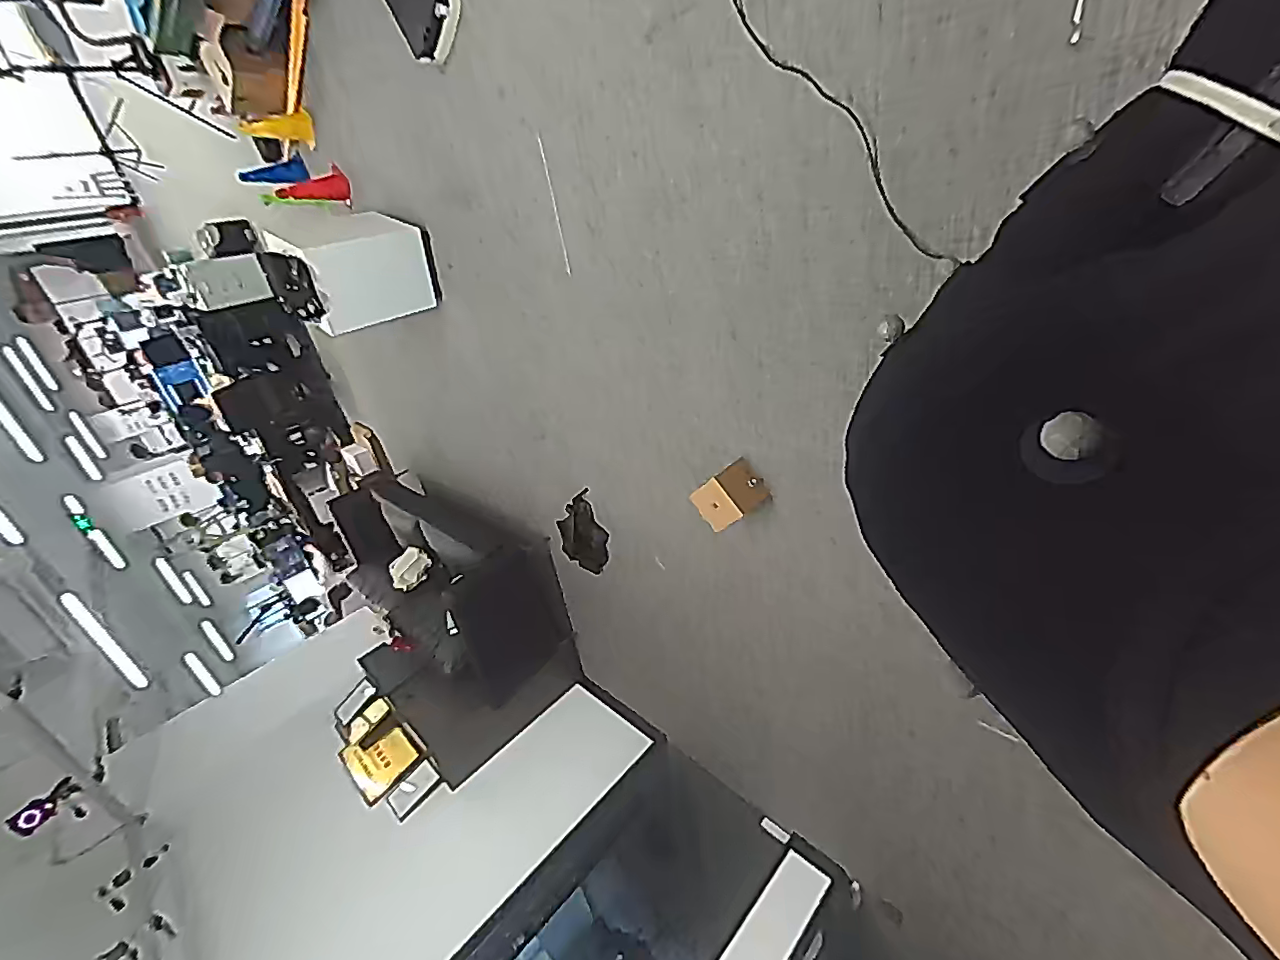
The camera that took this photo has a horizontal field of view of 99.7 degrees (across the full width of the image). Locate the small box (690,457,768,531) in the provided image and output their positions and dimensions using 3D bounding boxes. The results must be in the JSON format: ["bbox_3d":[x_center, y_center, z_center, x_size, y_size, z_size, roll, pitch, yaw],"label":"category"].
[{"bbox_3d":[0.315,0.049,1.905,0.168,0.176,0.179,52,144,6],"label":"small box"}]
